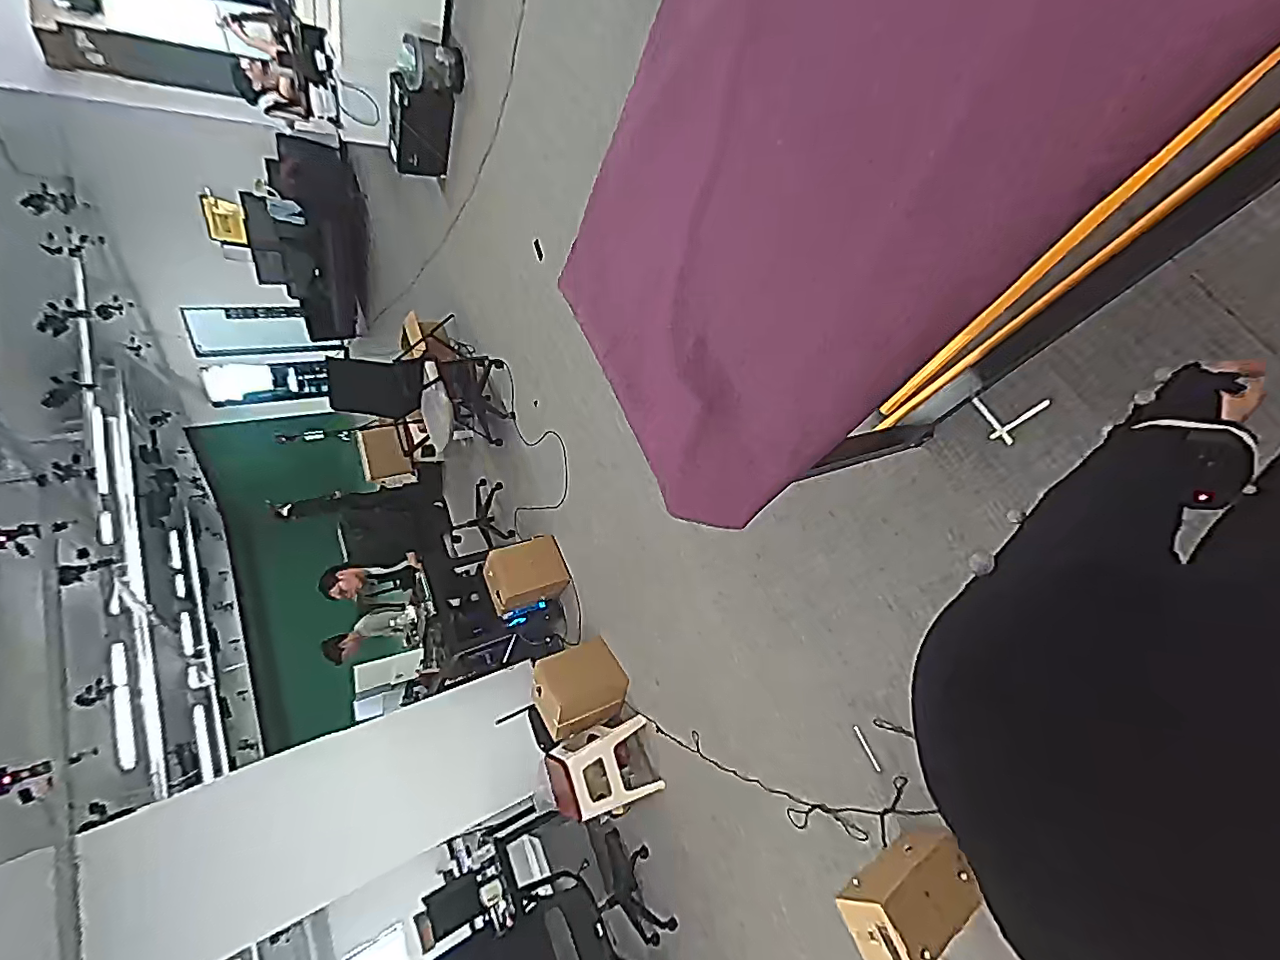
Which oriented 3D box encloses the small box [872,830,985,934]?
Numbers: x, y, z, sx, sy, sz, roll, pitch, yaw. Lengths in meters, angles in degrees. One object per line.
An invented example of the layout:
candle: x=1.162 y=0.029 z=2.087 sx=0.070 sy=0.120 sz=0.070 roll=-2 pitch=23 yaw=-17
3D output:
small box: x=0.786 y=1.084 z=1.474 sx=0.168 sy=0.176 sz=0.179 roll=63 pitch=144 yaw=20
